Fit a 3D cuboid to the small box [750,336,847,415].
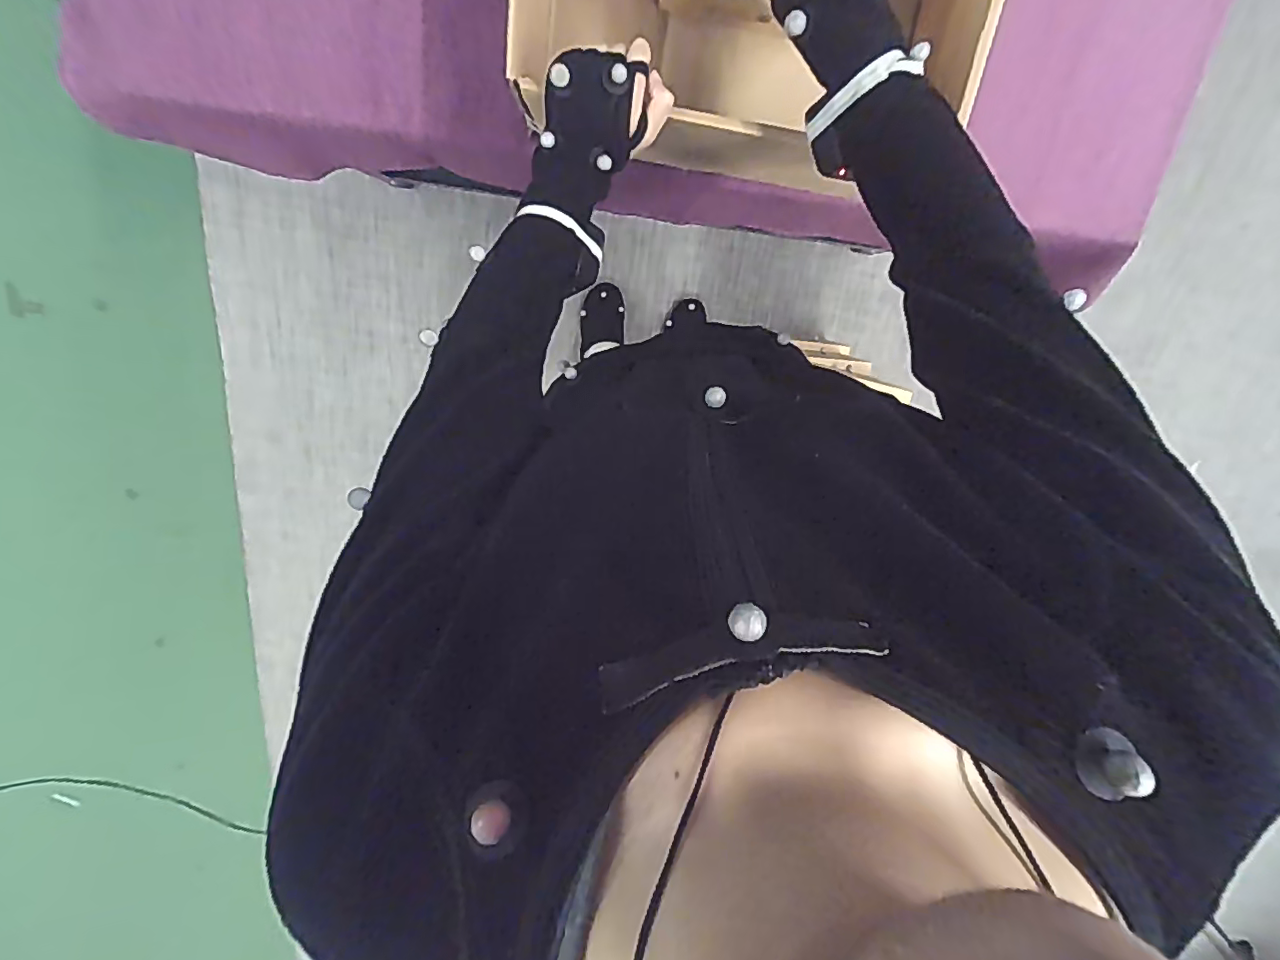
[{"bbox_3d":[0.395,-0.271,1.380,0.179,0.176,0.168,5,110,-4],"label":"small box"}]
